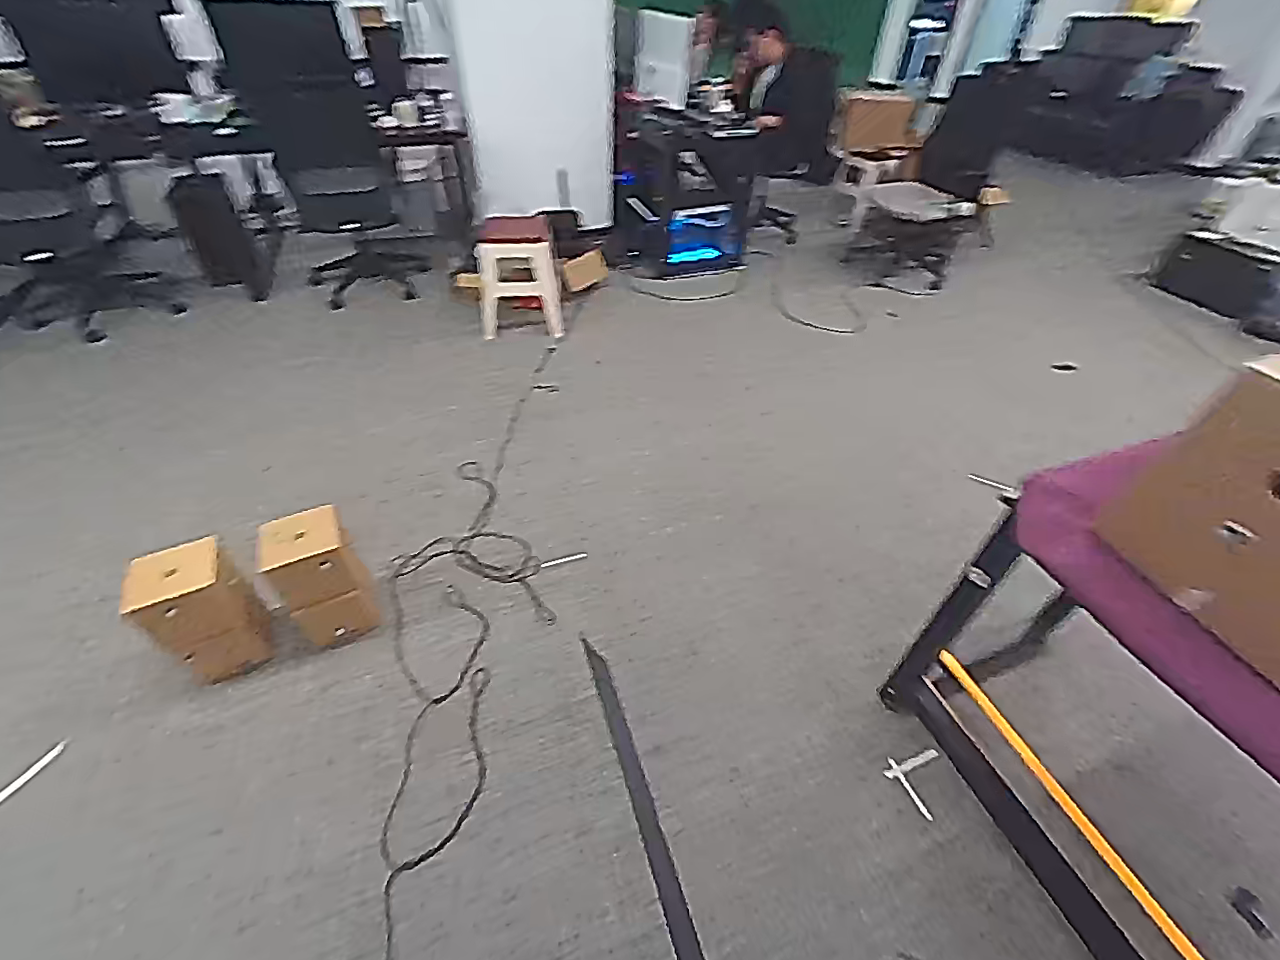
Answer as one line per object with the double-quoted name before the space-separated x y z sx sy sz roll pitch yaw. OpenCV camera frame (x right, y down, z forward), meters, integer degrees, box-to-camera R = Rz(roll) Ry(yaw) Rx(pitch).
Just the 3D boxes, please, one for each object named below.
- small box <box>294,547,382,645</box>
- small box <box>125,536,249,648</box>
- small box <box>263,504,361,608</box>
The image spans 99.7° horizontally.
"small box" -0.832 0.321 1.496 0.168 0.176 0.179 -17 47 -18
"small box" -1.079 0.271 1.308 0.179 0.176 0.168 -19 47 -20
"small box" -0.834 0.196 1.389 0.179 0.176 0.168 -19 47 -19
